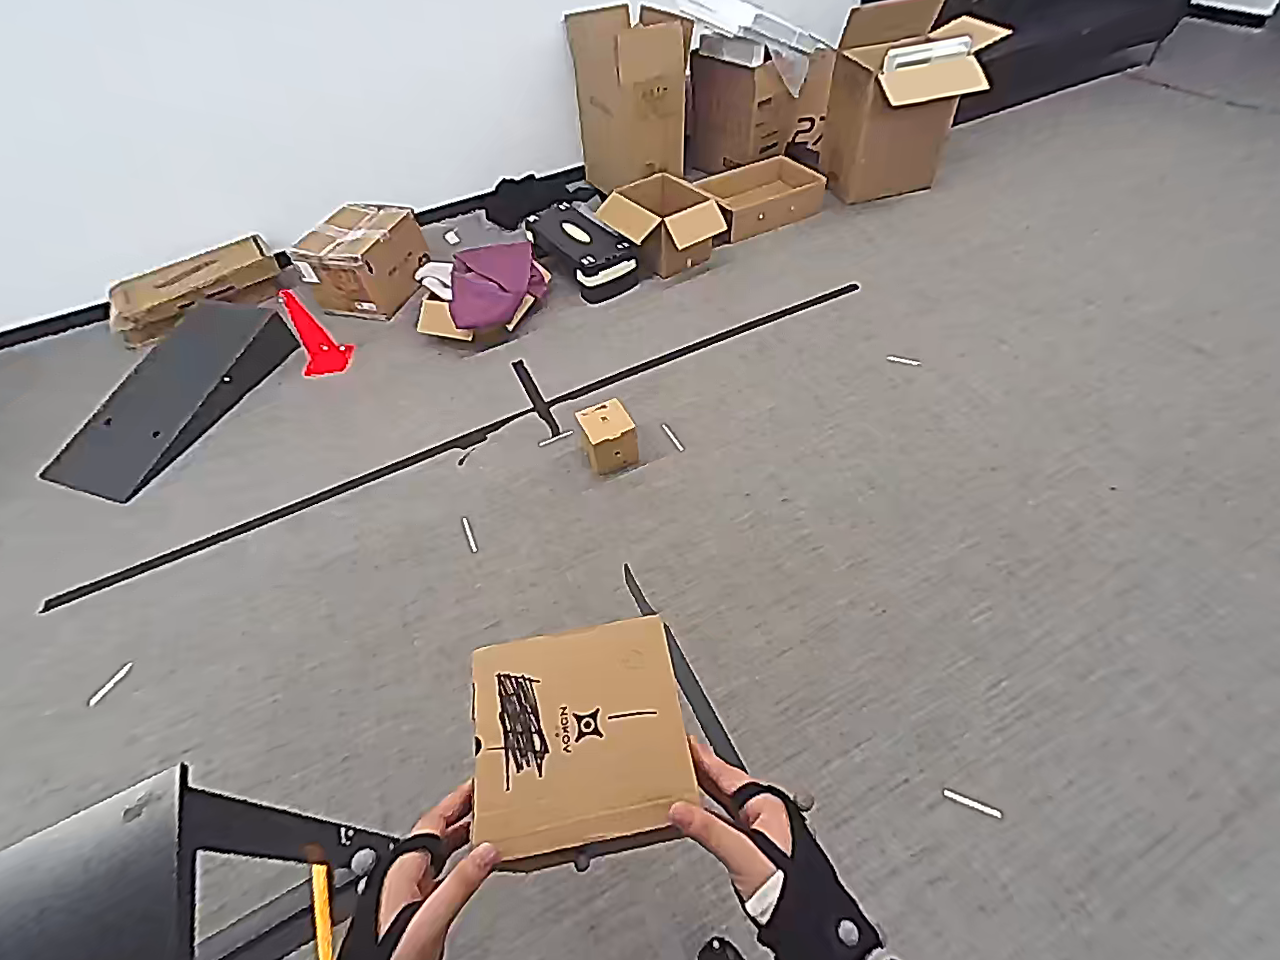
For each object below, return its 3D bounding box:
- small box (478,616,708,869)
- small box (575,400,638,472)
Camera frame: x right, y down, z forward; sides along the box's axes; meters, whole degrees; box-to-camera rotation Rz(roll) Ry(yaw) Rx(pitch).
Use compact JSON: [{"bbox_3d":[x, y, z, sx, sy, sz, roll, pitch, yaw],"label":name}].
[{"bbox_3d":[-0.040,0.250,0.507,0.179,0.176,0.168,-10,54,-4],"label":"small box"},{"bbox_3d":[-0.115,-0.150,1.936,0.168,0.176,0.179,-22,53,-12],"label":"small box"}]
